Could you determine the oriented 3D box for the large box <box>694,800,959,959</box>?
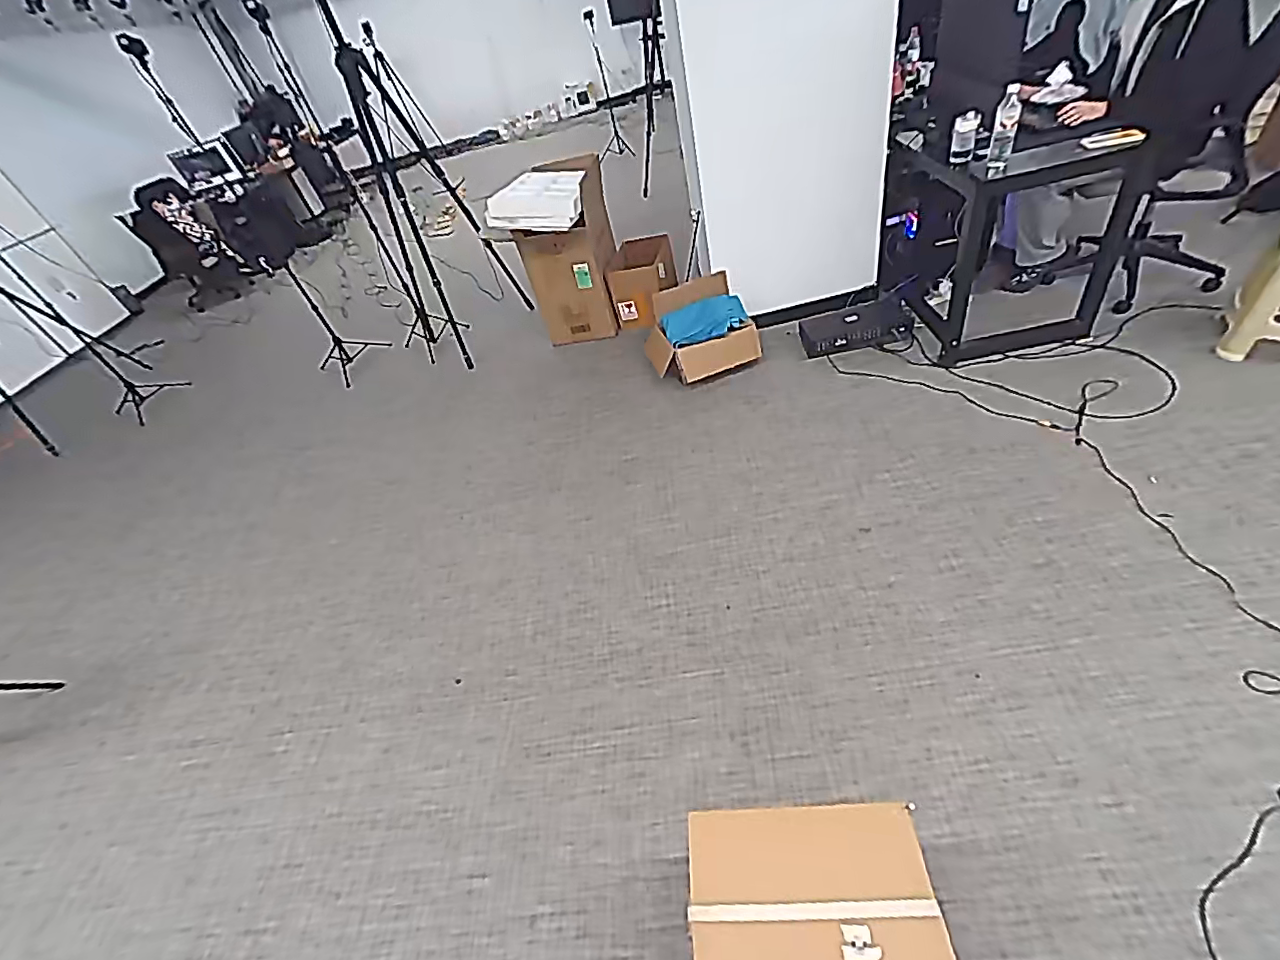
[{"bbox_3d":[0.327,0.827,1.005,0.408,0.320,0.320,-9,43,9],"label":"large box"}]
